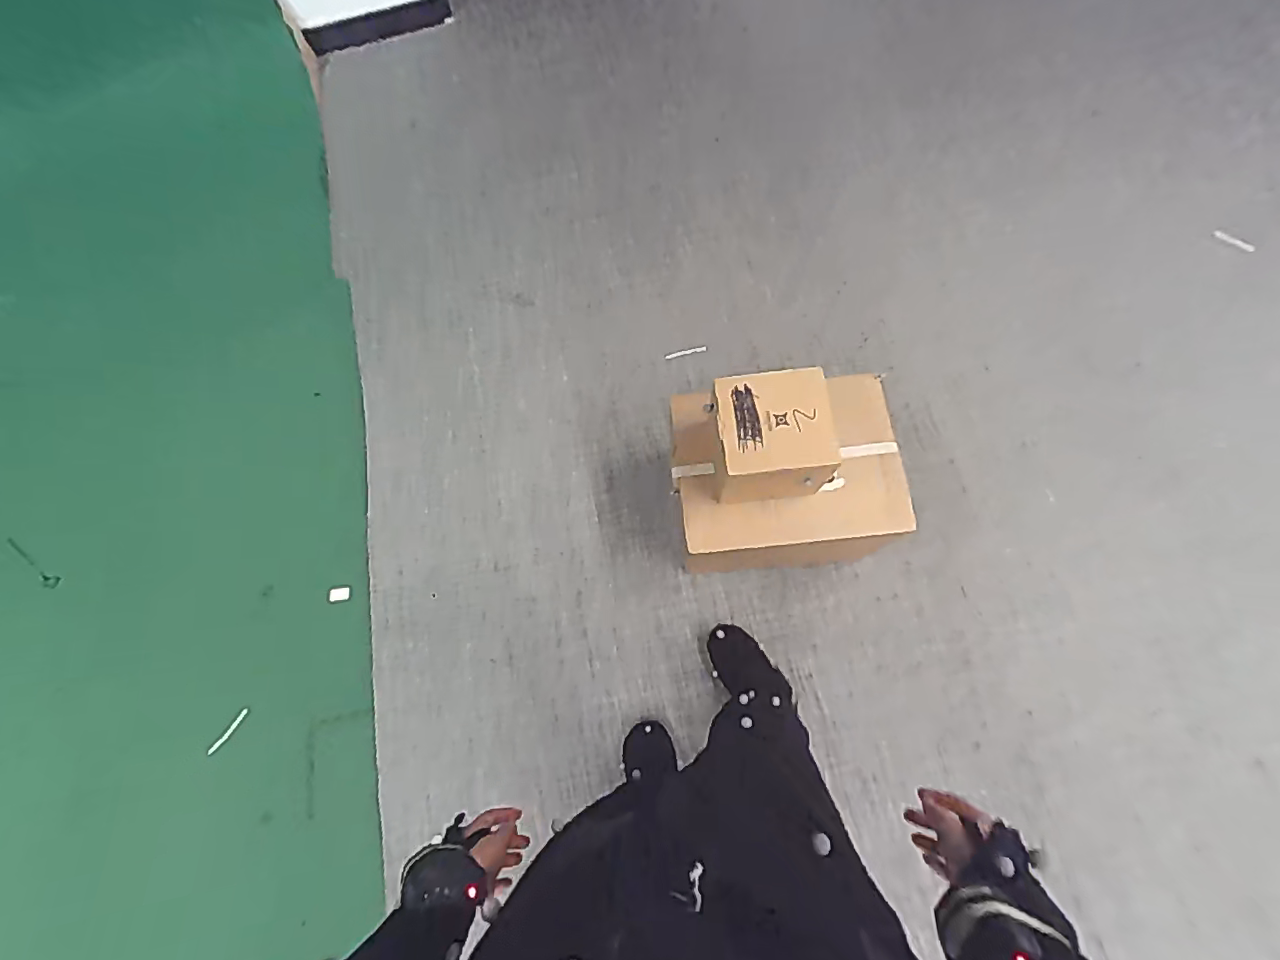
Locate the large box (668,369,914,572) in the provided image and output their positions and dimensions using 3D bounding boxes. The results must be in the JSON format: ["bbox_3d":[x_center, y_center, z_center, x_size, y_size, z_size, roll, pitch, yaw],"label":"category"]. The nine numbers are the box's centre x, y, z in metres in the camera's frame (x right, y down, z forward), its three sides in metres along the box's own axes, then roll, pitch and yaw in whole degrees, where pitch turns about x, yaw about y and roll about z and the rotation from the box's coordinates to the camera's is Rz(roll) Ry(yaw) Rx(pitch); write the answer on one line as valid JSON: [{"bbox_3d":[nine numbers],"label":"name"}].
[{"bbox_3d":[0.278,0.001,1.136,0.408,0.320,0.320,-7,74,2],"label":"large box"}]
